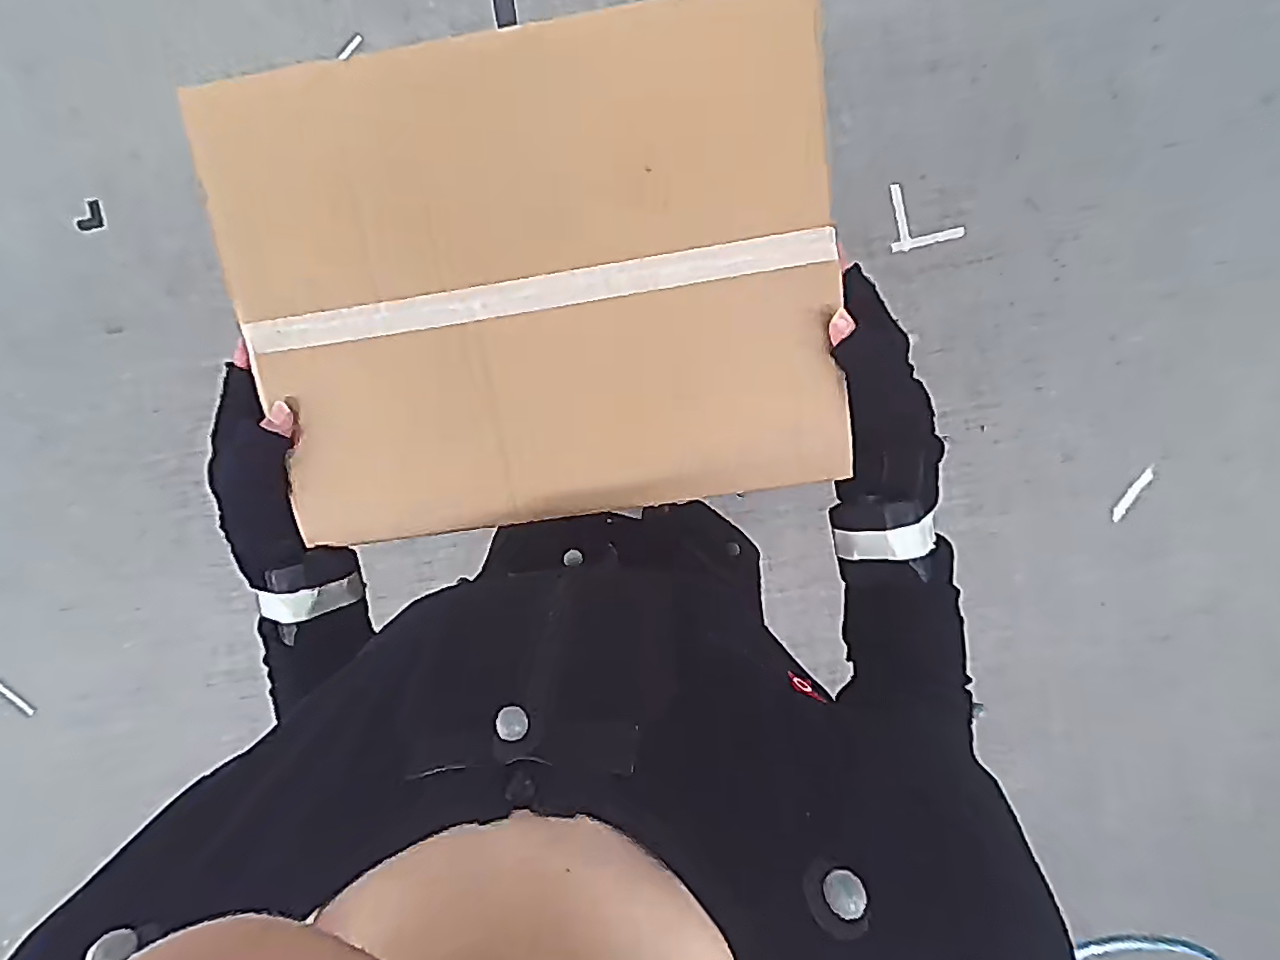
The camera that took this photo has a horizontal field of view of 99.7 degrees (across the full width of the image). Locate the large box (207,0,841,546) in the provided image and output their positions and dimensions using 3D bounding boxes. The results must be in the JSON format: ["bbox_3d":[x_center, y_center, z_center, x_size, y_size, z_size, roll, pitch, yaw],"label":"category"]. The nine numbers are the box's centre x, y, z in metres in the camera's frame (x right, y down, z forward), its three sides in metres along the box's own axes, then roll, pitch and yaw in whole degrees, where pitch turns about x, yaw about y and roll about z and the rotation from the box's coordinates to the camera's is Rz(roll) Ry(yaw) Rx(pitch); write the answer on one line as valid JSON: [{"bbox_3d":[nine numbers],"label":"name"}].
[{"bbox_3d":[-0.066,-0.157,0.522,0.408,0.320,0.320,-8,101,3],"label":"large box"}]
